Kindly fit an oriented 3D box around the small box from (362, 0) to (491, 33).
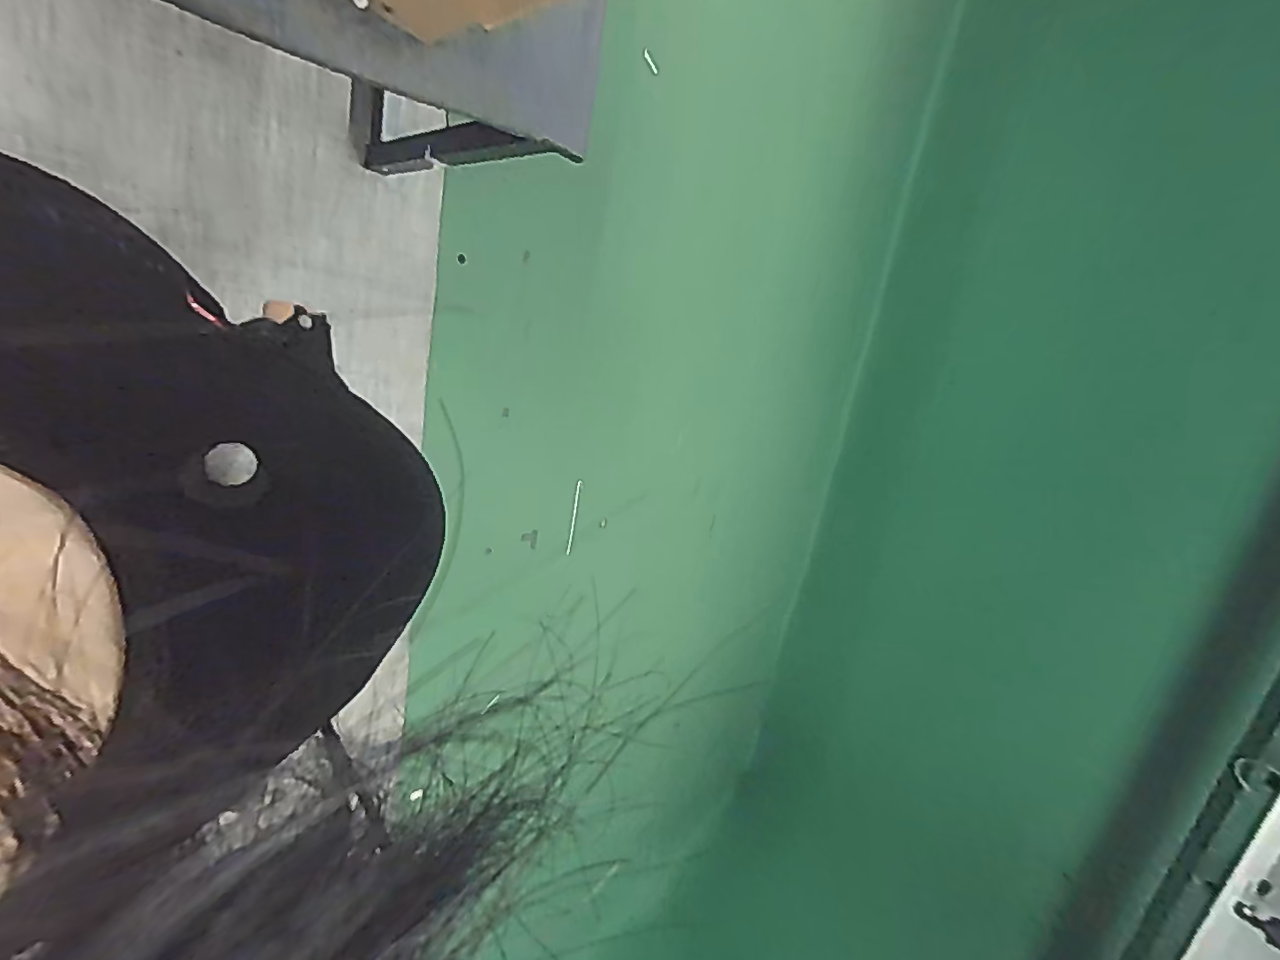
[{"bbox_3d":[-0.243,-0.603,0.540,0.168,0.176,0.179,-3,109,-47],"label":"small box"}]
